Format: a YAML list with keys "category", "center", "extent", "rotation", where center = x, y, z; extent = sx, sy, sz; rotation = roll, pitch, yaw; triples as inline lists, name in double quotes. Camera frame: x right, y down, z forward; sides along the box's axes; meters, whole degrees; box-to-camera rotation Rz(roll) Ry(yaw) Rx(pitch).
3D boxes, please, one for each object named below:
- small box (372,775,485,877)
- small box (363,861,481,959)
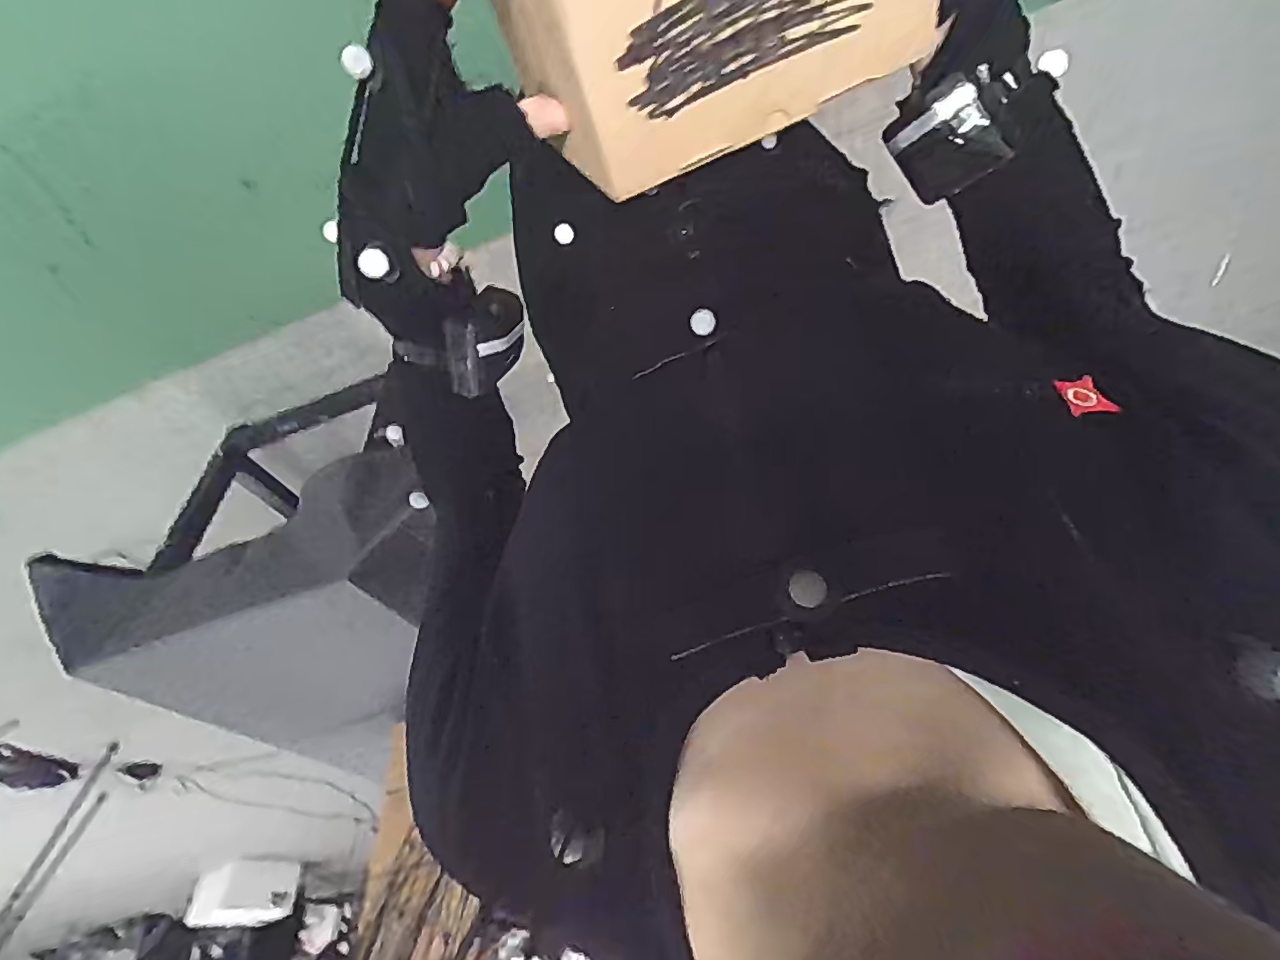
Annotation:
- category: "small box"
  center: [-0.475, 0.805, 1.245]
  extent: [0.179, 0.176, 0.168]
  rotation: [-19, 135, 8]
- category: "small box"
  center: [-0.450, 0.919, 1.129]
  extent: [0.168, 0.176, 0.179]
  rotation: [-18, 135, 7]
